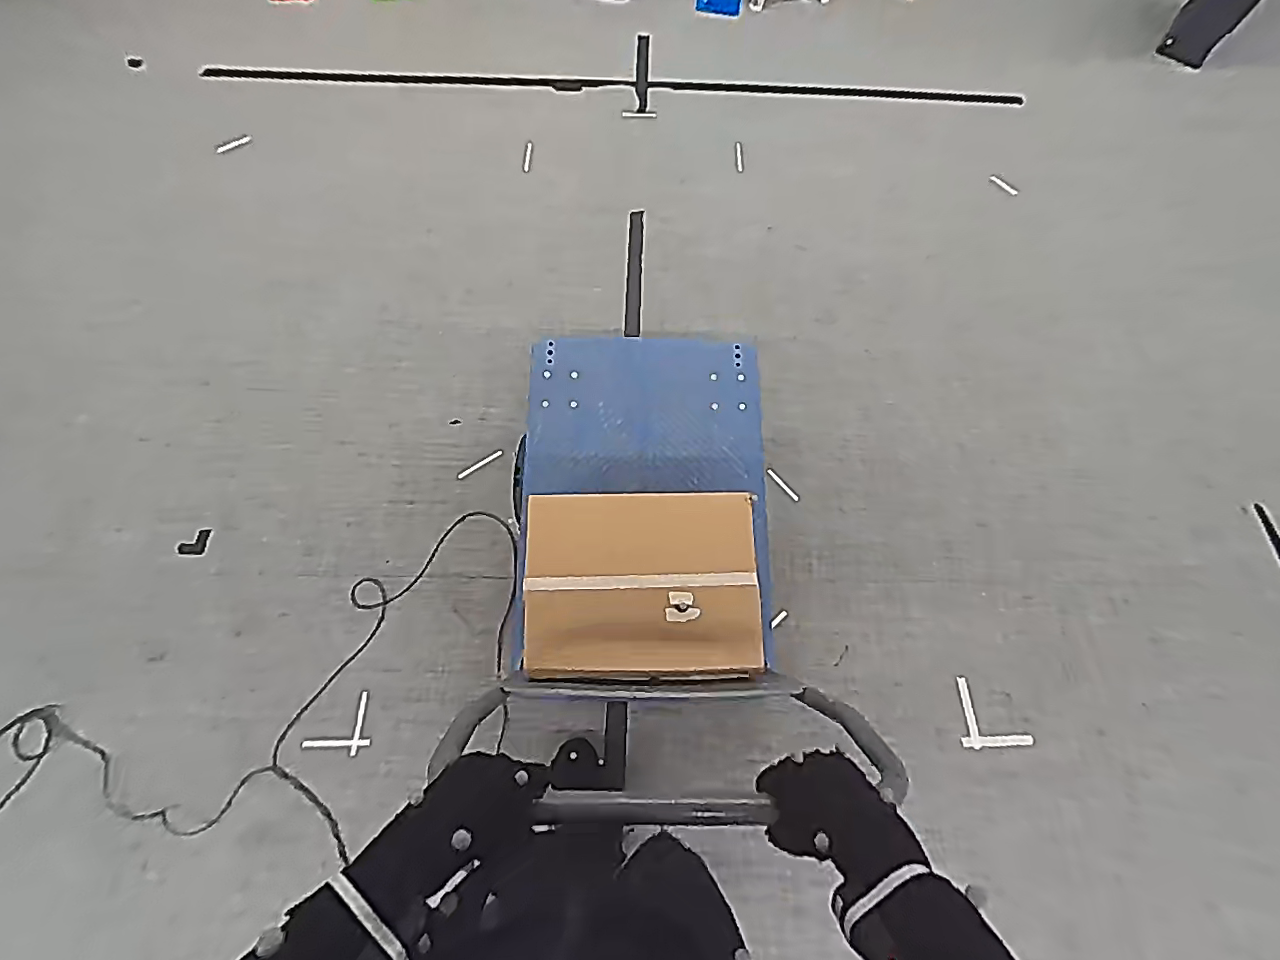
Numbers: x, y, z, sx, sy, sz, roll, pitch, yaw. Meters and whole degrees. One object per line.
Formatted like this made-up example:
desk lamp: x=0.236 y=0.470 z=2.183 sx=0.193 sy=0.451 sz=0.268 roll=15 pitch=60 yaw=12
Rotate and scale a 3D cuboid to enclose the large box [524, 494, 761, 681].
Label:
large box: x=-0.007 y=0.218 z=1.077 sx=0.408 sy=0.320 sz=0.320 roll=0 pitch=75 yaw=-3
